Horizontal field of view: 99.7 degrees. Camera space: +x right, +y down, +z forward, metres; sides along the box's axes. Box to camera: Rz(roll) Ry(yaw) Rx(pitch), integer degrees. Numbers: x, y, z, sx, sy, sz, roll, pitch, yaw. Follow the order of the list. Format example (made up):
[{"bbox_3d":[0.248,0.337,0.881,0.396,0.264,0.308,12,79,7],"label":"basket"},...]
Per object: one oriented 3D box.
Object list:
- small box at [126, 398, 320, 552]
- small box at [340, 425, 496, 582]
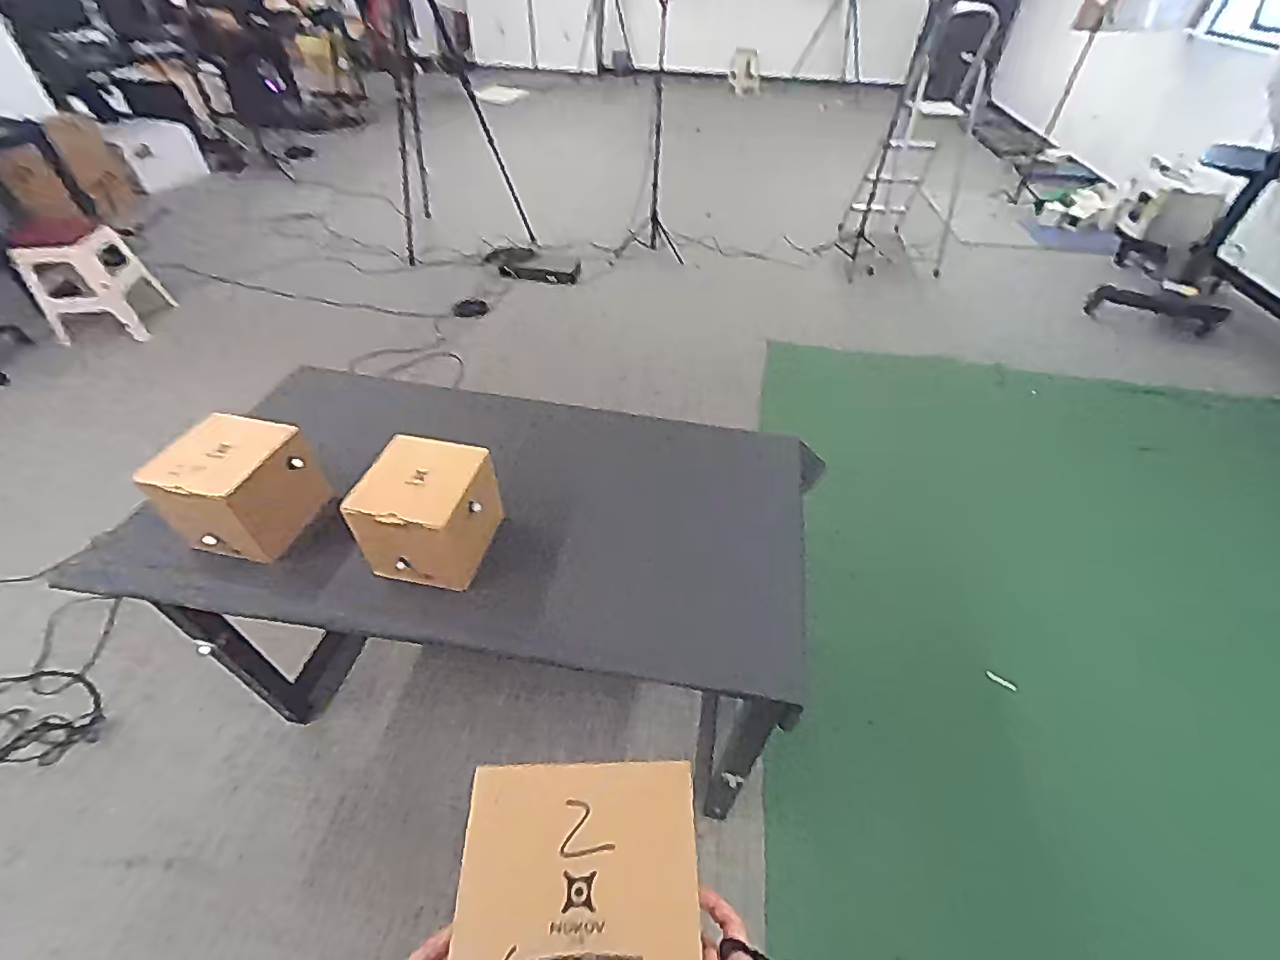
[{"bbox_3d":[-0.677,-0.008,0.910,0.168,0.176,0.179,11,46,7],"label":"small box"},{"bbox_3d":[-0.349,0.039,0.894,0.168,0.176,0.179,11,46,5],"label":"small box"}]
